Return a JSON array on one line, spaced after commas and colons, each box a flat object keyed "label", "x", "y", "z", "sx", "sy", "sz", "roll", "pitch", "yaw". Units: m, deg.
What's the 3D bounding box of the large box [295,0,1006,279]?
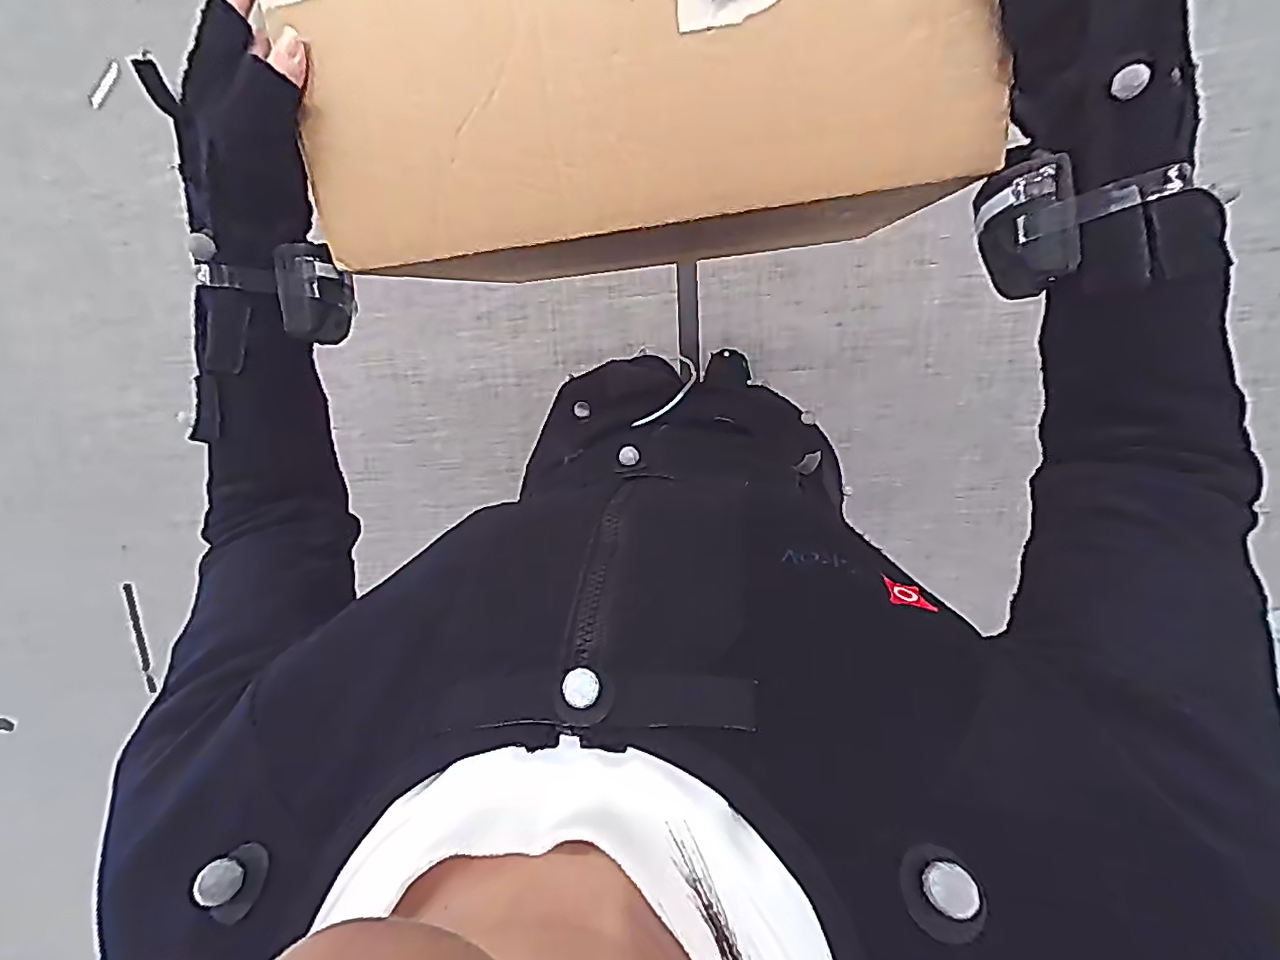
[{"label": "large box", "x": 0.006, "y": -0.356, "z": 0.430, "sx": 0.408, "sy": 0.320, "sz": 0.320, "roll": -4, "pitch": 108, "yaw": 10}]
